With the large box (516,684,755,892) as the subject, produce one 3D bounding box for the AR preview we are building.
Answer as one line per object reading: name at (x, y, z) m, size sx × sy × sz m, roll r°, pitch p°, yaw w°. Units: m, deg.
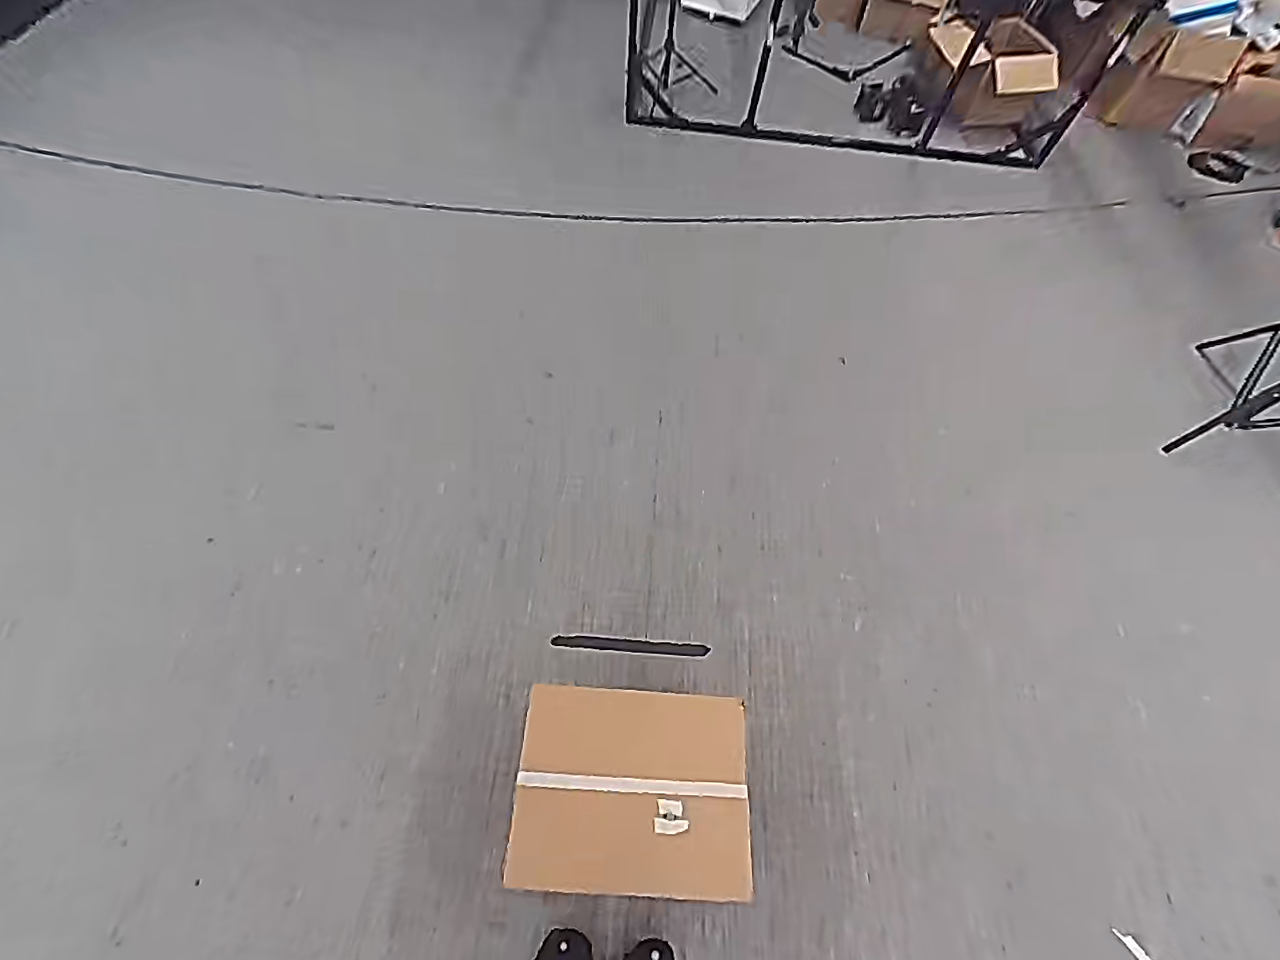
large box at (-0.012, 0.611, 1.086) m, size 0.408 × 0.320 × 0.320 m, roll 5°, pitch 60°, yaw -2°
